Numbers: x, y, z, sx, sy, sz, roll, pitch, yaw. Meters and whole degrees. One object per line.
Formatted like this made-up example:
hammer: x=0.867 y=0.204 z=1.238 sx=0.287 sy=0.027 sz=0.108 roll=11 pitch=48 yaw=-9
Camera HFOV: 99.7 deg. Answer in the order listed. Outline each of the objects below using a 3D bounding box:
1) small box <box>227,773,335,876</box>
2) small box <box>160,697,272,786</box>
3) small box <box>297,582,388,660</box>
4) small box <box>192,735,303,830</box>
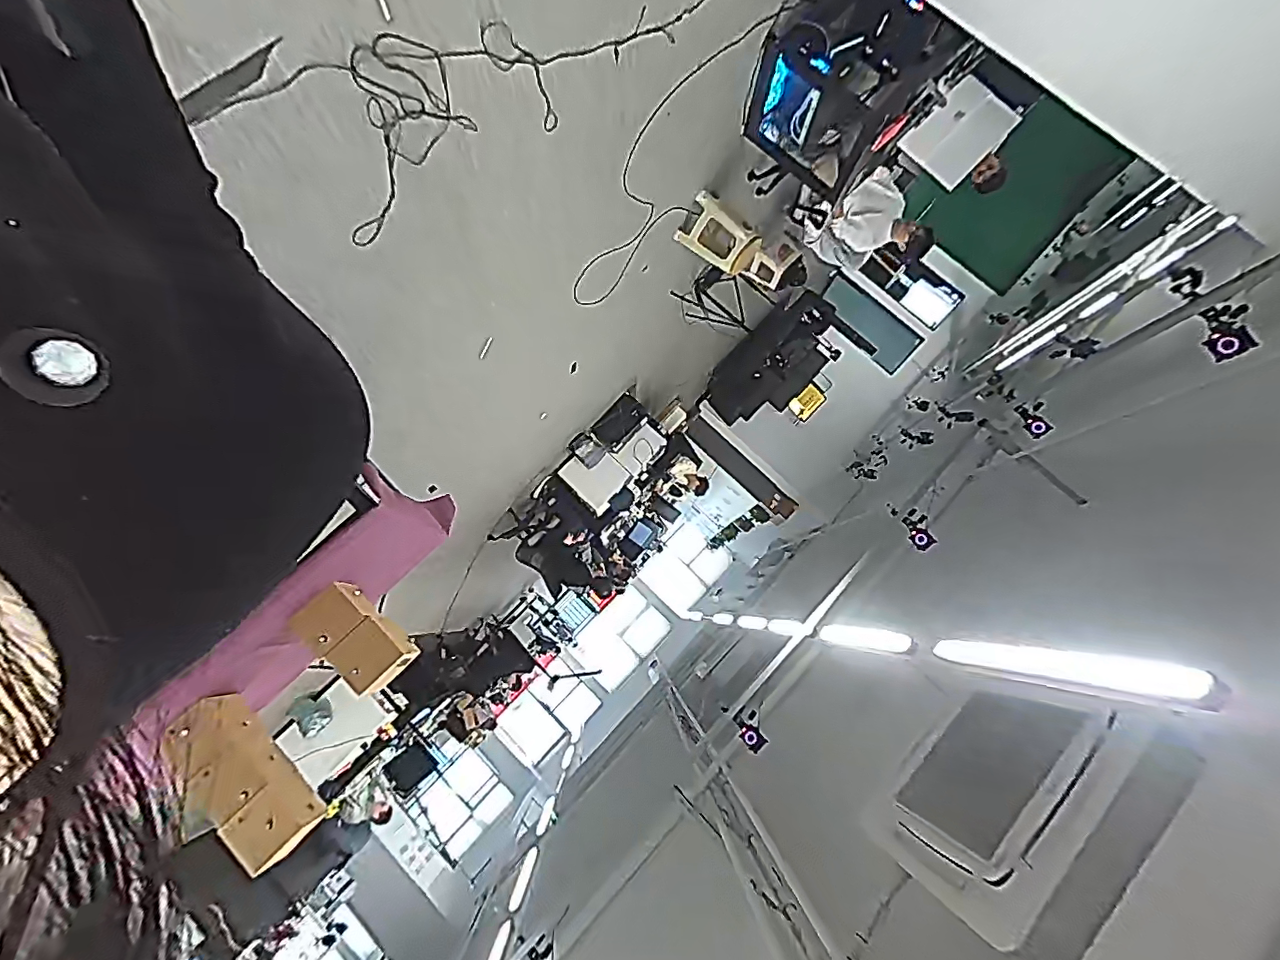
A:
small box: x=-1.060 y=1.009 z=1.601 sx=0.168 sy=0.176 sz=0.179 roll=-45 pitch=172 yaw=-16
small box: x=-1.296 y=0.789 z=1.658 sx=0.168 sy=0.176 sz=0.179 roll=-45 pitch=171 yaw=-14
small box: x=-0.965 y=0.458 z=1.750 sx=0.179 sy=0.176 sz=0.168 roll=-45 pitch=172 yaw=-15
small box: x=-1.178 y=0.899 z=1.630 sx=0.168 sy=0.176 sz=0.179 roll=-45 pitch=173 yaw=-16
